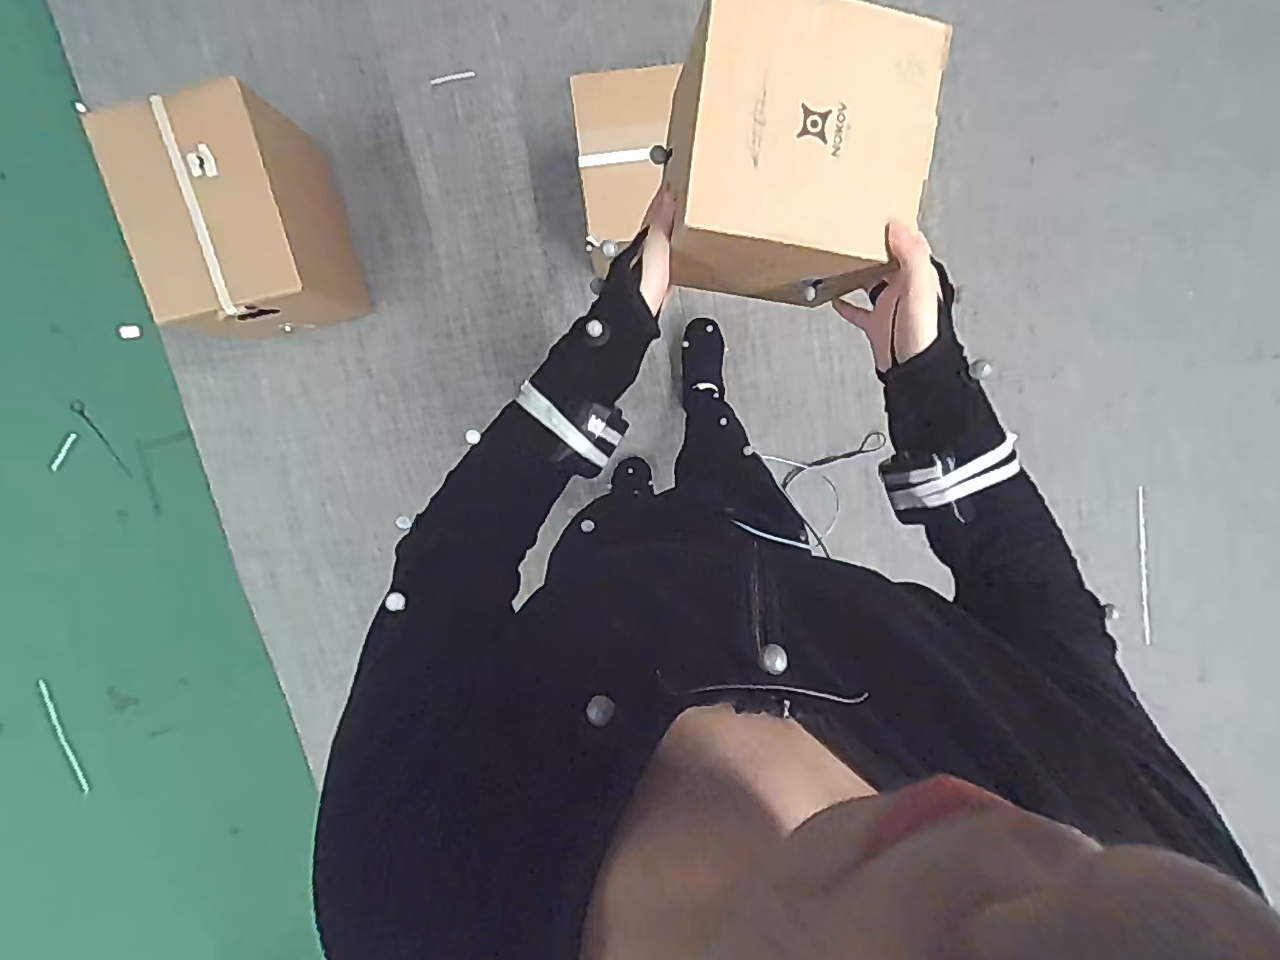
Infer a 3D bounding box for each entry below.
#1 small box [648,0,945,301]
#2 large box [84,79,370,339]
[{"bbox_3d":[0.113,-0.261,0.461,0.179,0.176,0.168,7,95,-8],"label":"small box"},{"bbox_3d":[-0.872,-0.560,1.204,0.320,0.320,0.408,-12,99,1],"label":"large box"}]
